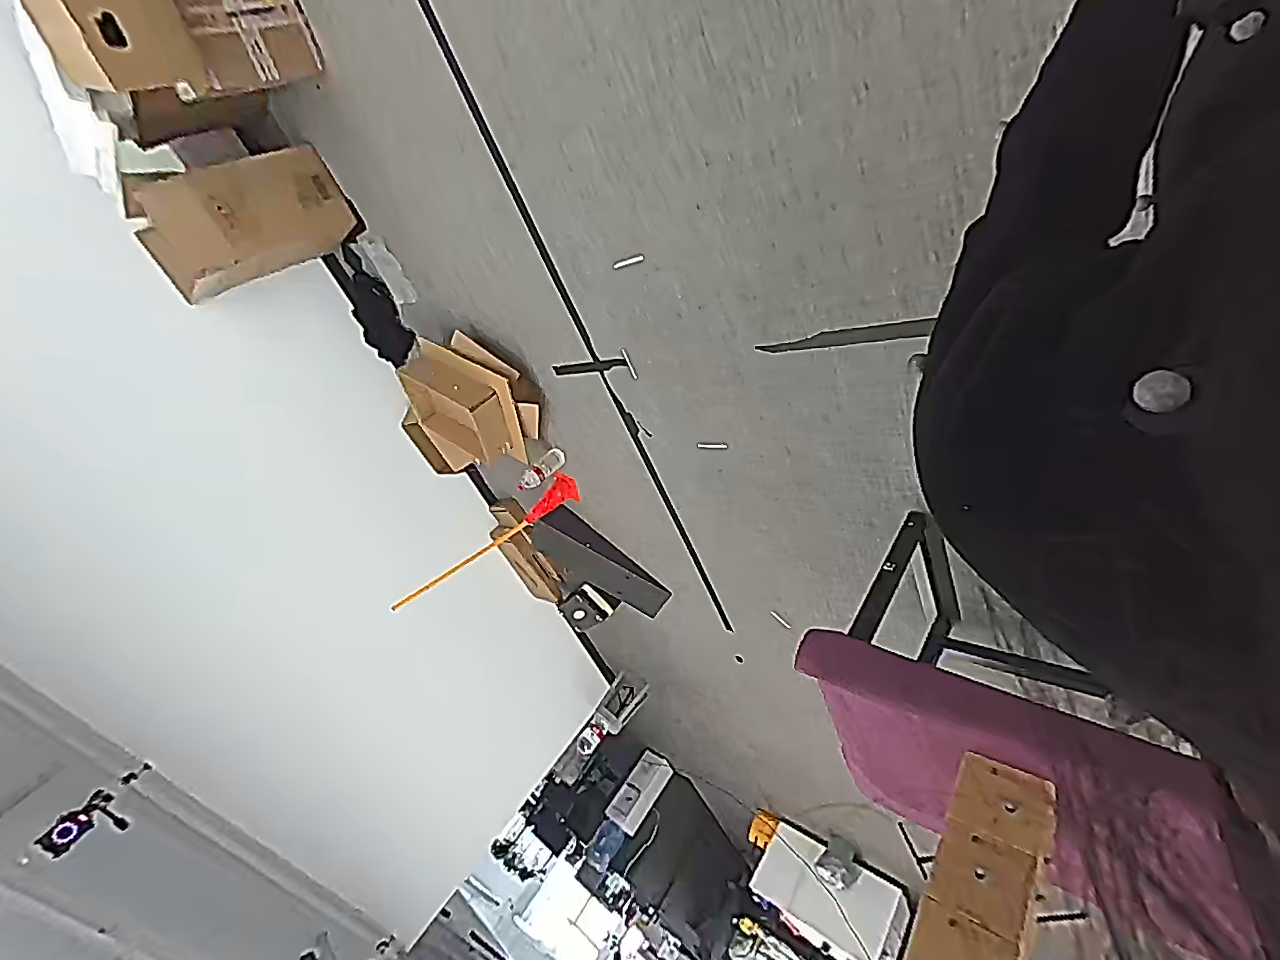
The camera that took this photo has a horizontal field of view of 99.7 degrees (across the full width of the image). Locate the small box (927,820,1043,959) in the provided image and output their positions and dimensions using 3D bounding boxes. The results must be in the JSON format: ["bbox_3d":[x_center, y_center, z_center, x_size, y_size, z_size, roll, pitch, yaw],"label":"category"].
[{"bbox_3d":[0.712,0.848,1.110,0.168,0.176,0.179,6,132,45],"label":"small box"}]

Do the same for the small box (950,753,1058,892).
[{"bbox_3d":[0.807,0.744,1.194,0.168,0.176,0.179,5,132,45],"label":"small box"}]
